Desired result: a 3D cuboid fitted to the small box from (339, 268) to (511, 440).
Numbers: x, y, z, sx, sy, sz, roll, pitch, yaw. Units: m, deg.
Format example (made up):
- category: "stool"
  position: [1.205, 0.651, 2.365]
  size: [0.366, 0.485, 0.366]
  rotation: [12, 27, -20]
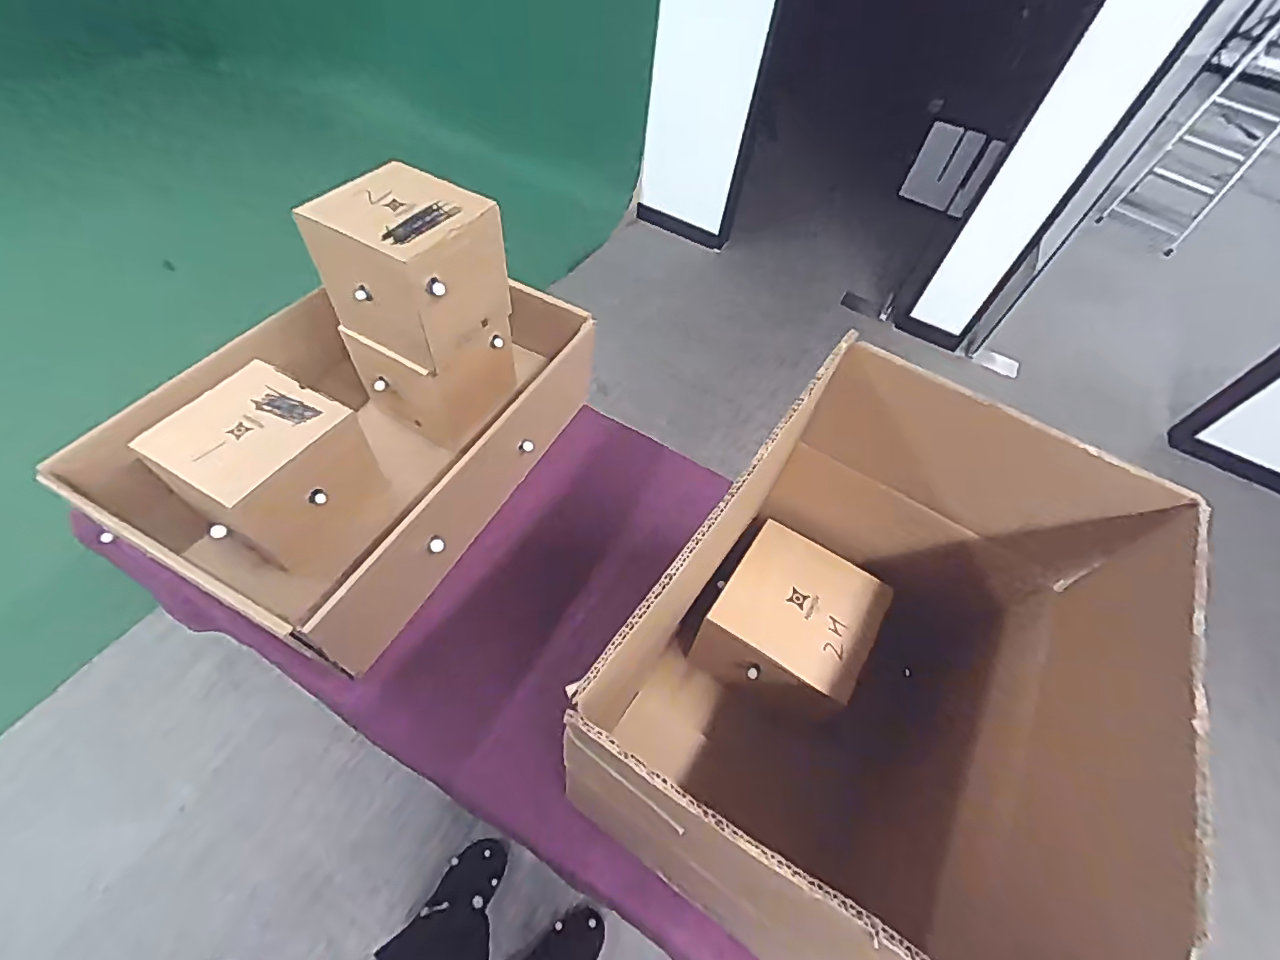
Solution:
- category: "small box"
  position: [-0.322, -0.195, 0.856]
  size: [0.168, 0.176, 0.179]
  rotation: [29, 56, 13]
